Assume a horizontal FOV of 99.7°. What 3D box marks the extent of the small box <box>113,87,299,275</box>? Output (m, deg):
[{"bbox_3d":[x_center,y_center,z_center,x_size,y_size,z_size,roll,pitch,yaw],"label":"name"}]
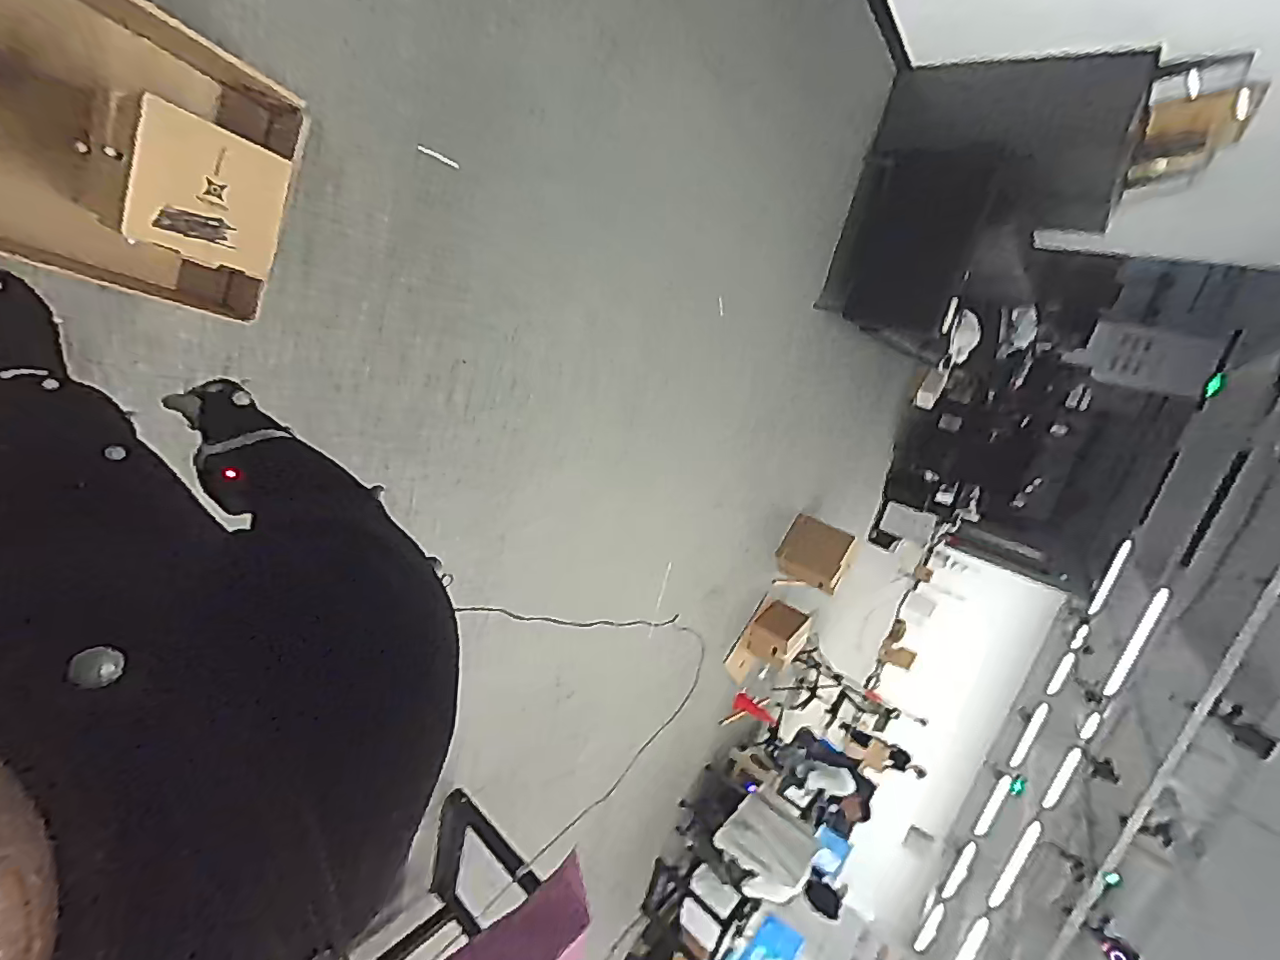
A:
[{"bbox_3d":[-0.627,-0.421,0.779,0.168,0.176,0.179,5,107,-53],"label":"small box"}]
